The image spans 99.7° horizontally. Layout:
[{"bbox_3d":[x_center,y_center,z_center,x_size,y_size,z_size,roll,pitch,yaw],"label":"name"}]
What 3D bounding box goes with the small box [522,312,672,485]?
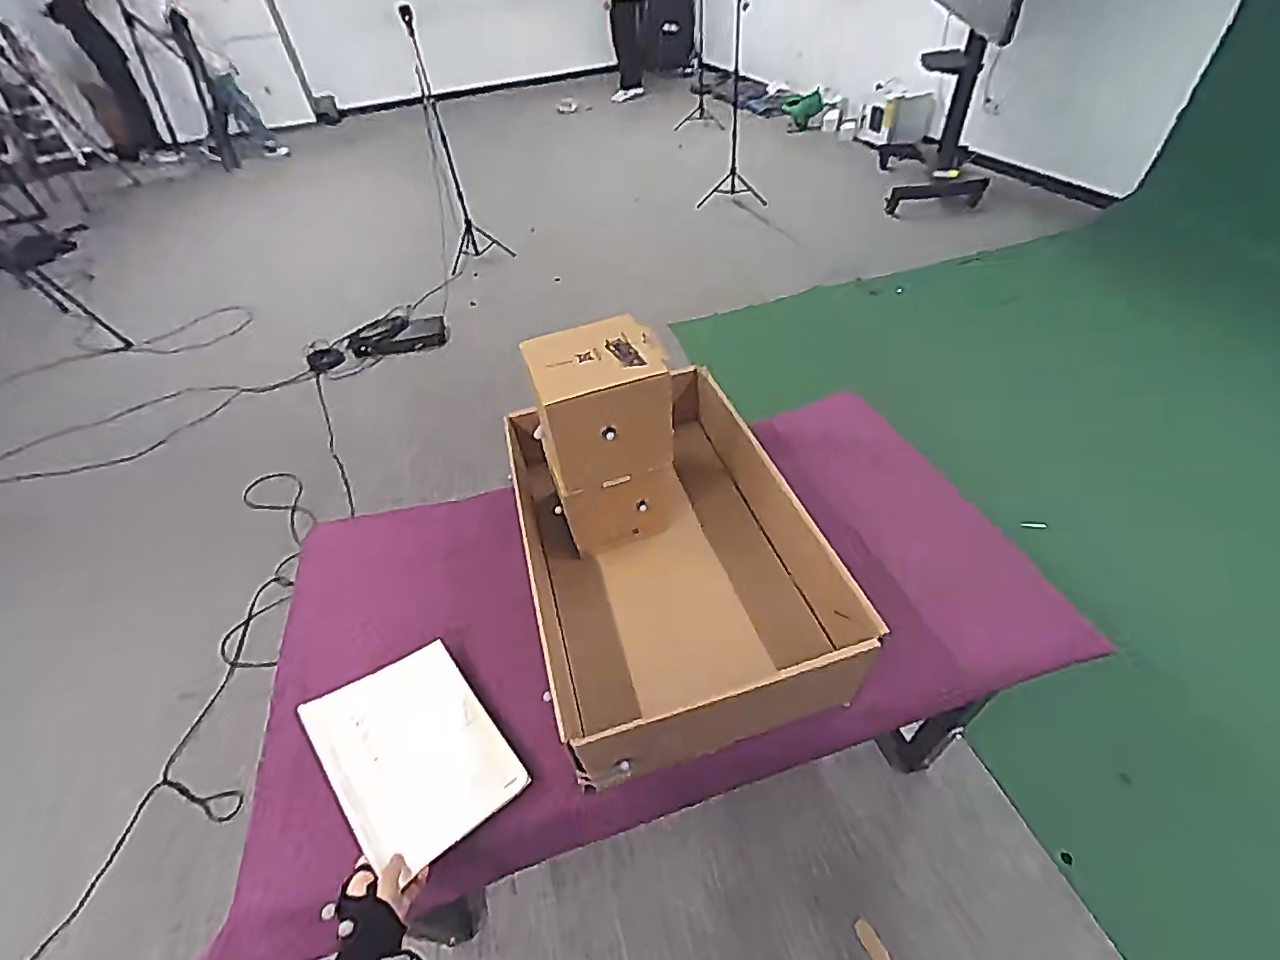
[{"bbox_3d":[-0.061,-0.120,0.806,0.179,0.176,0.168,-17,47,-10],"label":"small box"}]
